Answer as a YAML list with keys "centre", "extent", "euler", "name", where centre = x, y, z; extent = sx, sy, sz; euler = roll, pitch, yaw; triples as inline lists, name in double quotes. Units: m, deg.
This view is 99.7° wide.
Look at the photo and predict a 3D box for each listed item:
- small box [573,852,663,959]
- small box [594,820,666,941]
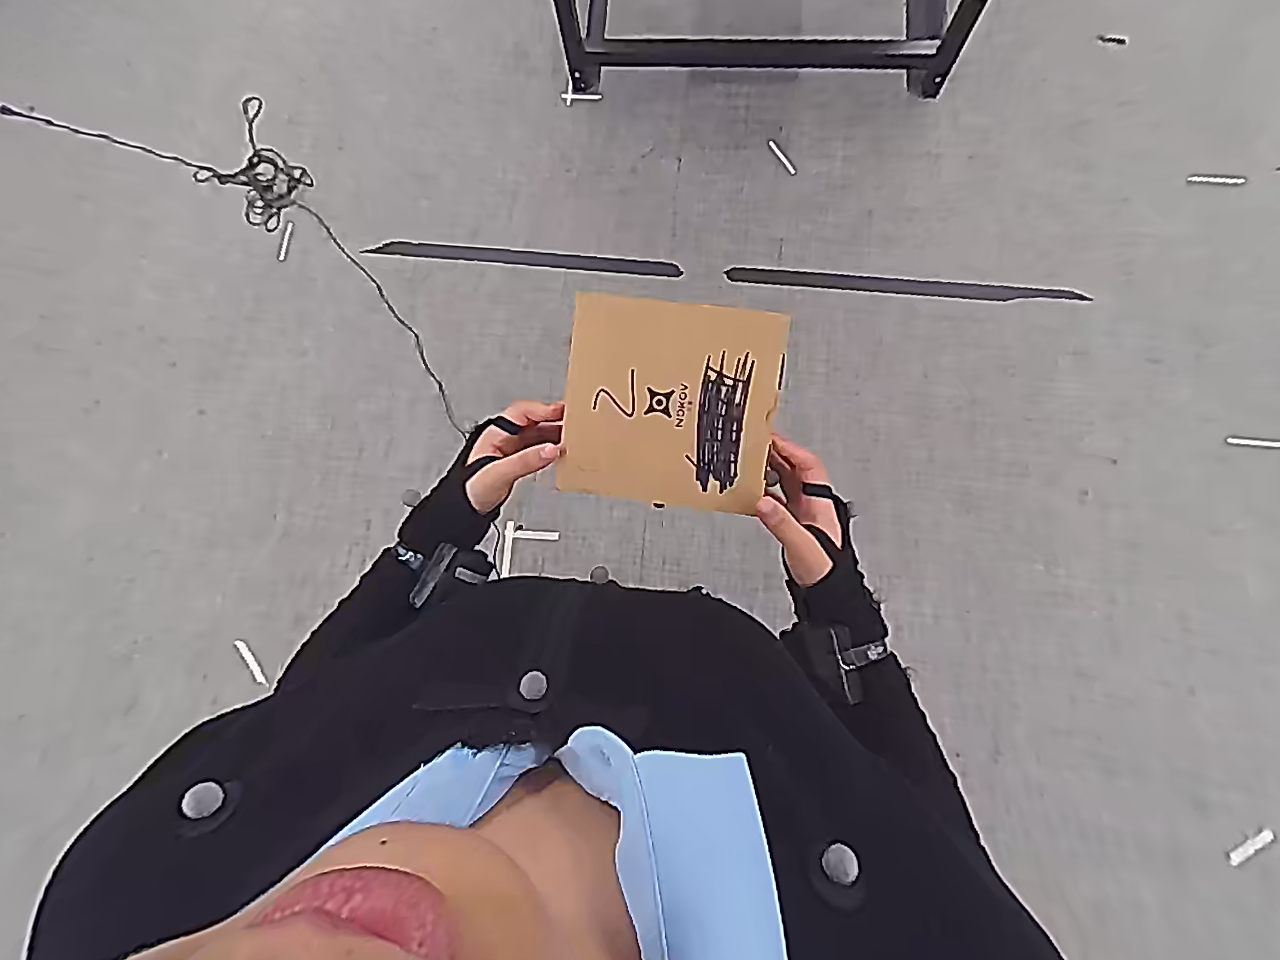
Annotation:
- centre: [-0.041, 0.925, 1.132]
  extent: [0.168, 0.176, 0.179]
  euler: [5, 79, 4]
  name: "small box"
- centre: [-0.026, 0.946, 1.293]
  extent: [0.168, 0.176, 0.179]
  euler: [3, 80, 5]
  name: "small box"
